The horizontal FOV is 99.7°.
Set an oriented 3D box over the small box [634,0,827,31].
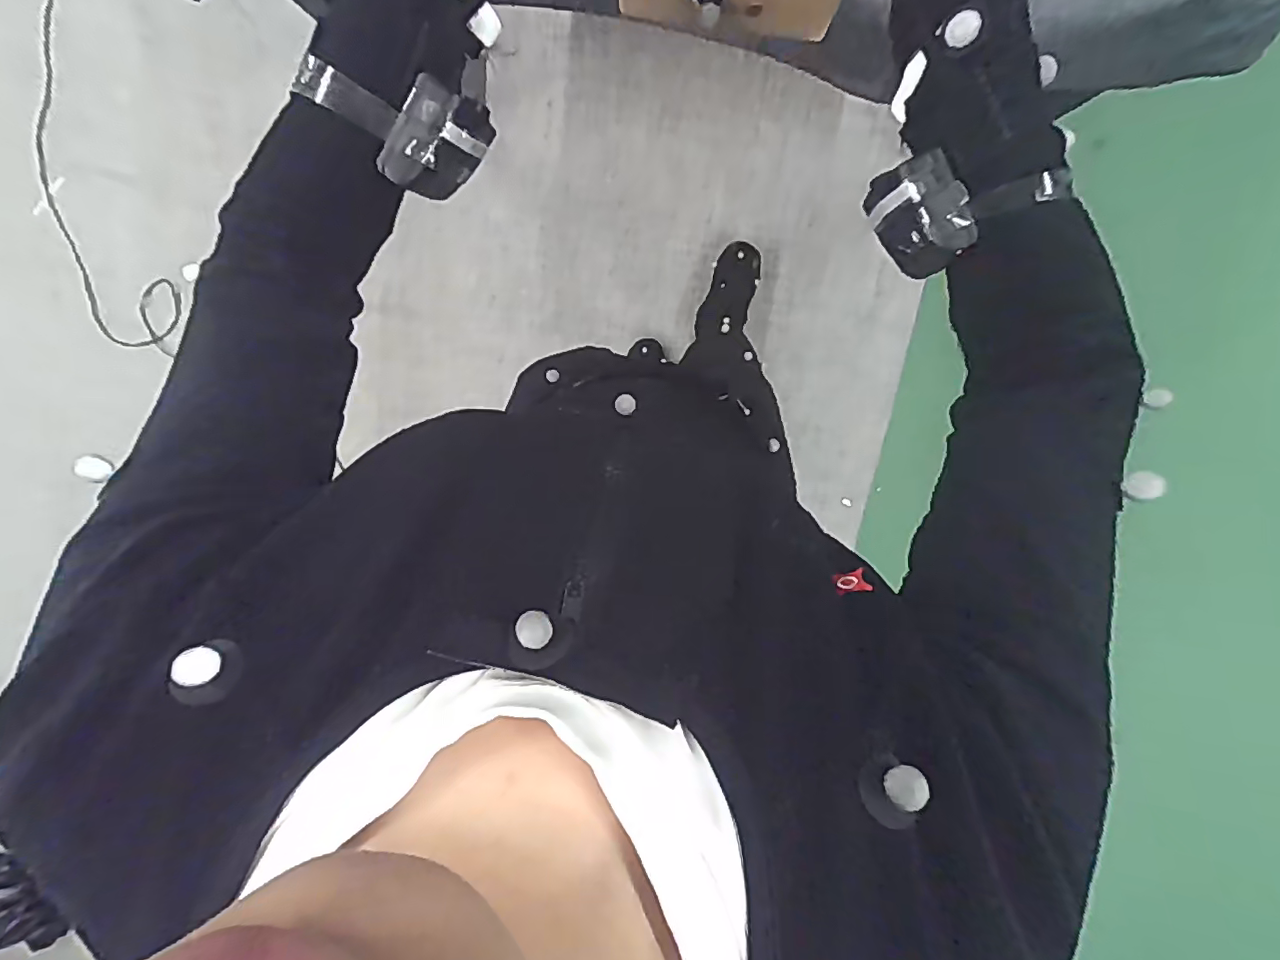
[{"bbox_3d":[0.071,-0.443,0.342,0.168,0.176,0.179,8,101,1],"label":"small box"}]
